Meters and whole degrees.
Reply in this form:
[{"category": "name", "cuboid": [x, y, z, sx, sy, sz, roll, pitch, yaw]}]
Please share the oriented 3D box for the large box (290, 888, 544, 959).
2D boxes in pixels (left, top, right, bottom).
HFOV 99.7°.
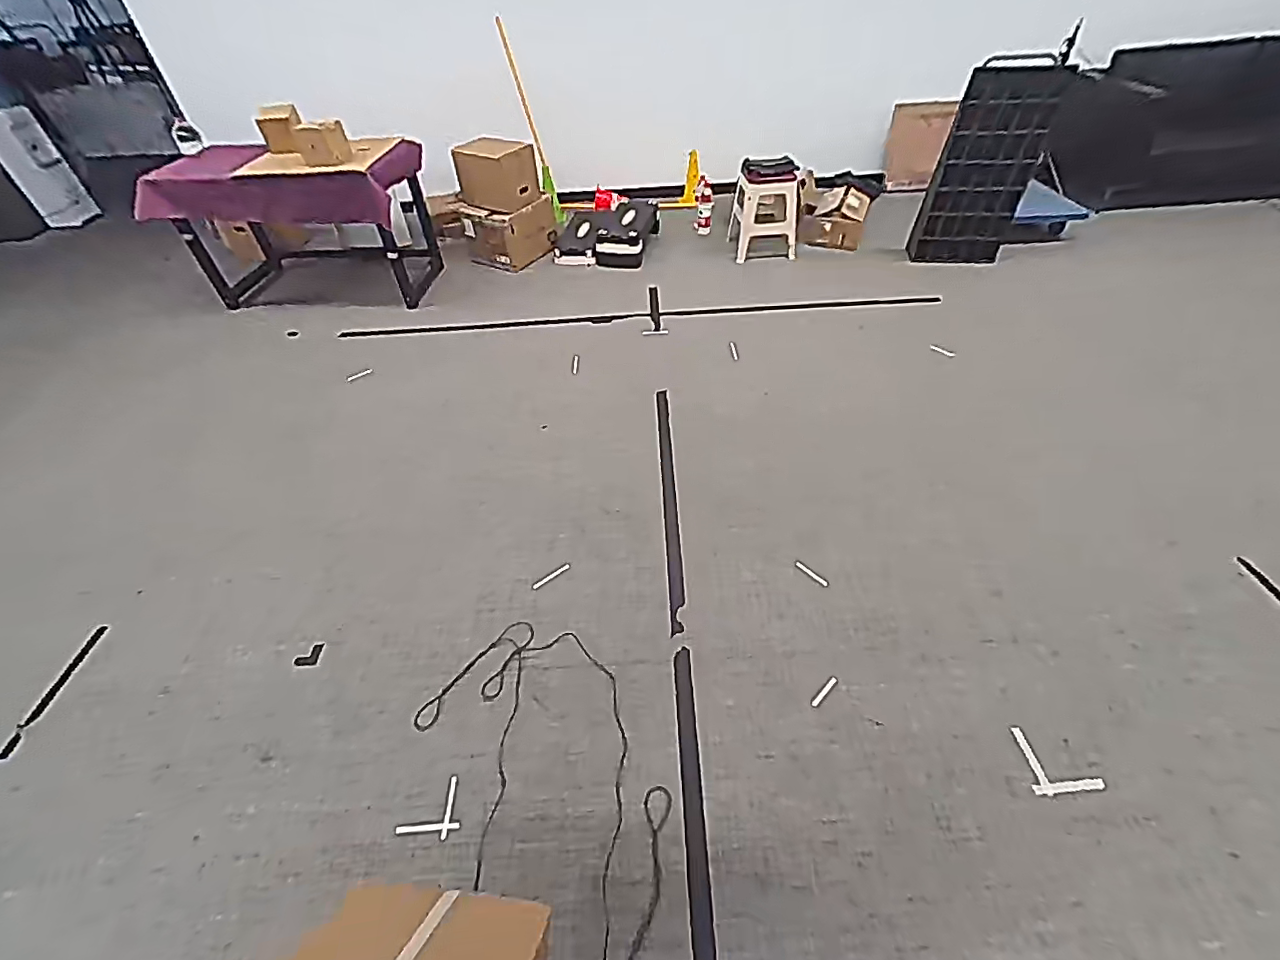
[{"category": "large box", "cuboid": [-0.319, 0.775, 0.631, 0.320, 0.408, 0.320, 3, 81, 4]}]
